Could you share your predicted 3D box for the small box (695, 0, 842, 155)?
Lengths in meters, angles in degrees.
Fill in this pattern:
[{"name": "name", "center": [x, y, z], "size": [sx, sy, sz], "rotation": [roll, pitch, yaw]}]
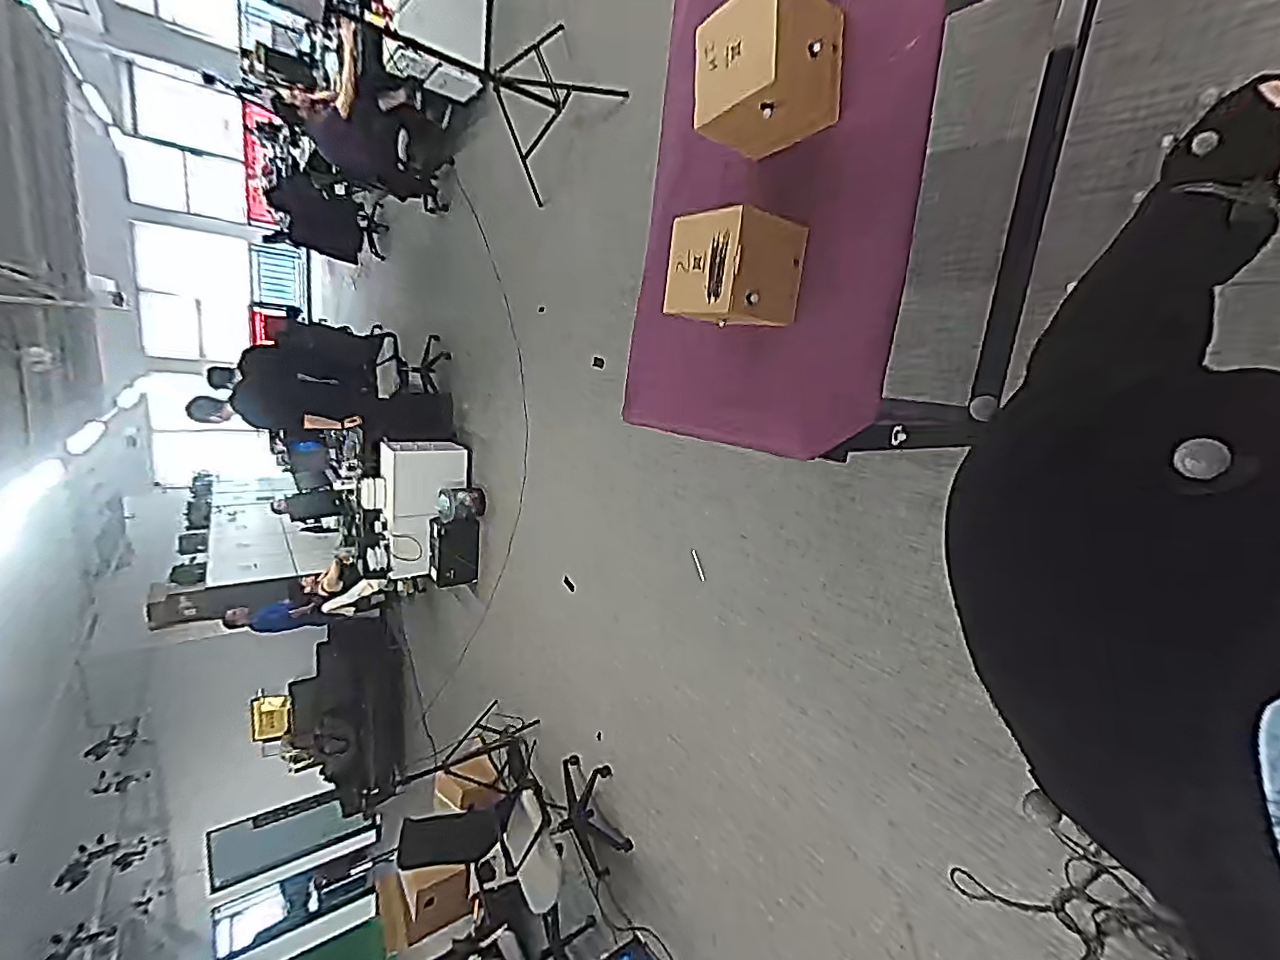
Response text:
[{"name": "small box", "center": [0.211, -0.673, 0.891], "size": [0.179, 0.176, 0.168], "rotation": [9, 99, 53]}]
